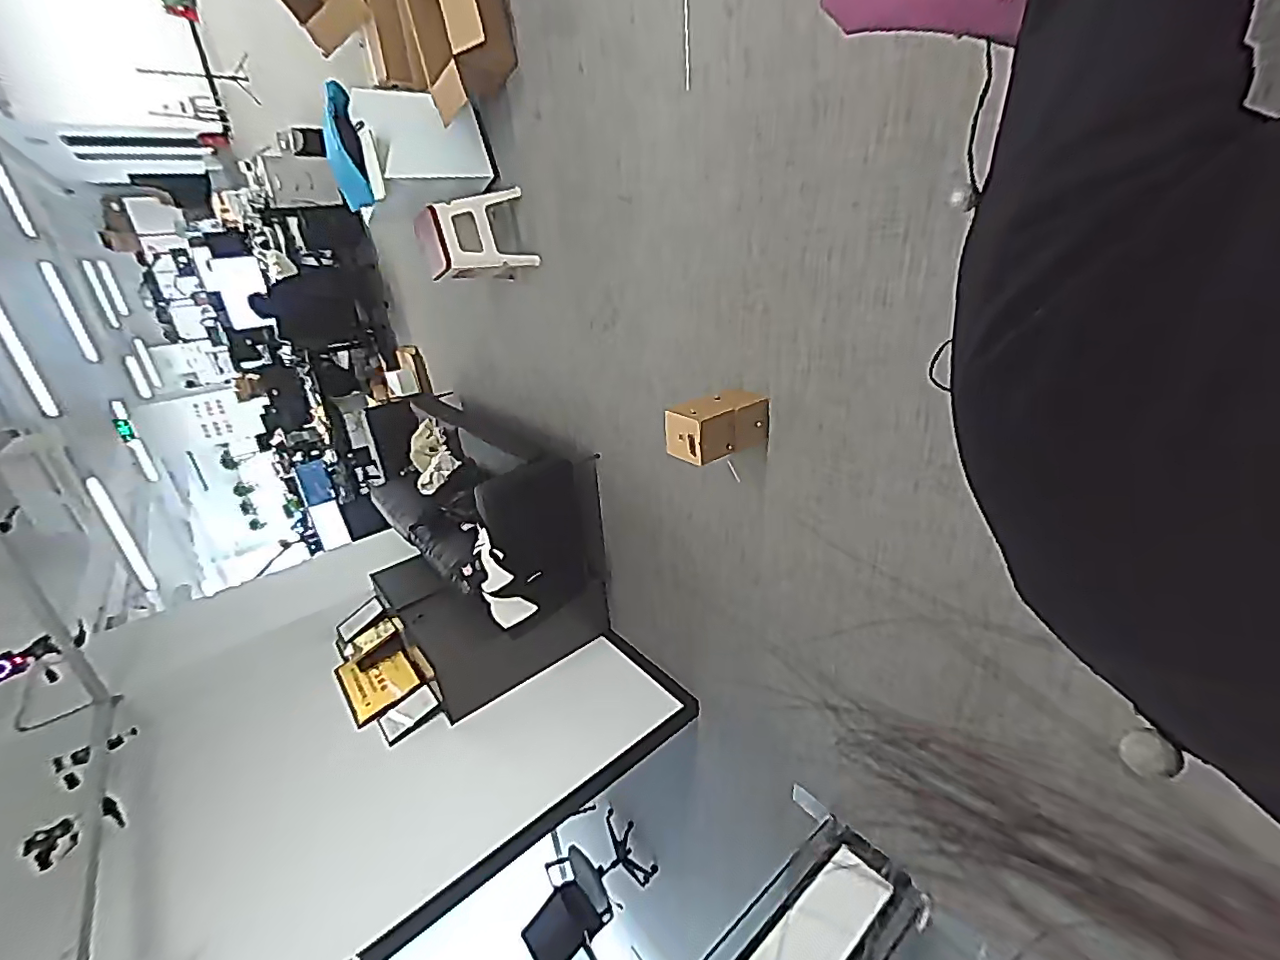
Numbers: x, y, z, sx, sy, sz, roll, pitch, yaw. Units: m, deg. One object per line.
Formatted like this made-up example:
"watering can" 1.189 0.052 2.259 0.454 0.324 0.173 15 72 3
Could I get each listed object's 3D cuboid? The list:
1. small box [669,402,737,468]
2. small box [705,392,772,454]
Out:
"small box" 0.223 -0.163 1.885 0.179 0.176 0.168 26 129 46
"small box" 0.355 -0.214 1.970 0.179 0.176 0.168 26 130 45
